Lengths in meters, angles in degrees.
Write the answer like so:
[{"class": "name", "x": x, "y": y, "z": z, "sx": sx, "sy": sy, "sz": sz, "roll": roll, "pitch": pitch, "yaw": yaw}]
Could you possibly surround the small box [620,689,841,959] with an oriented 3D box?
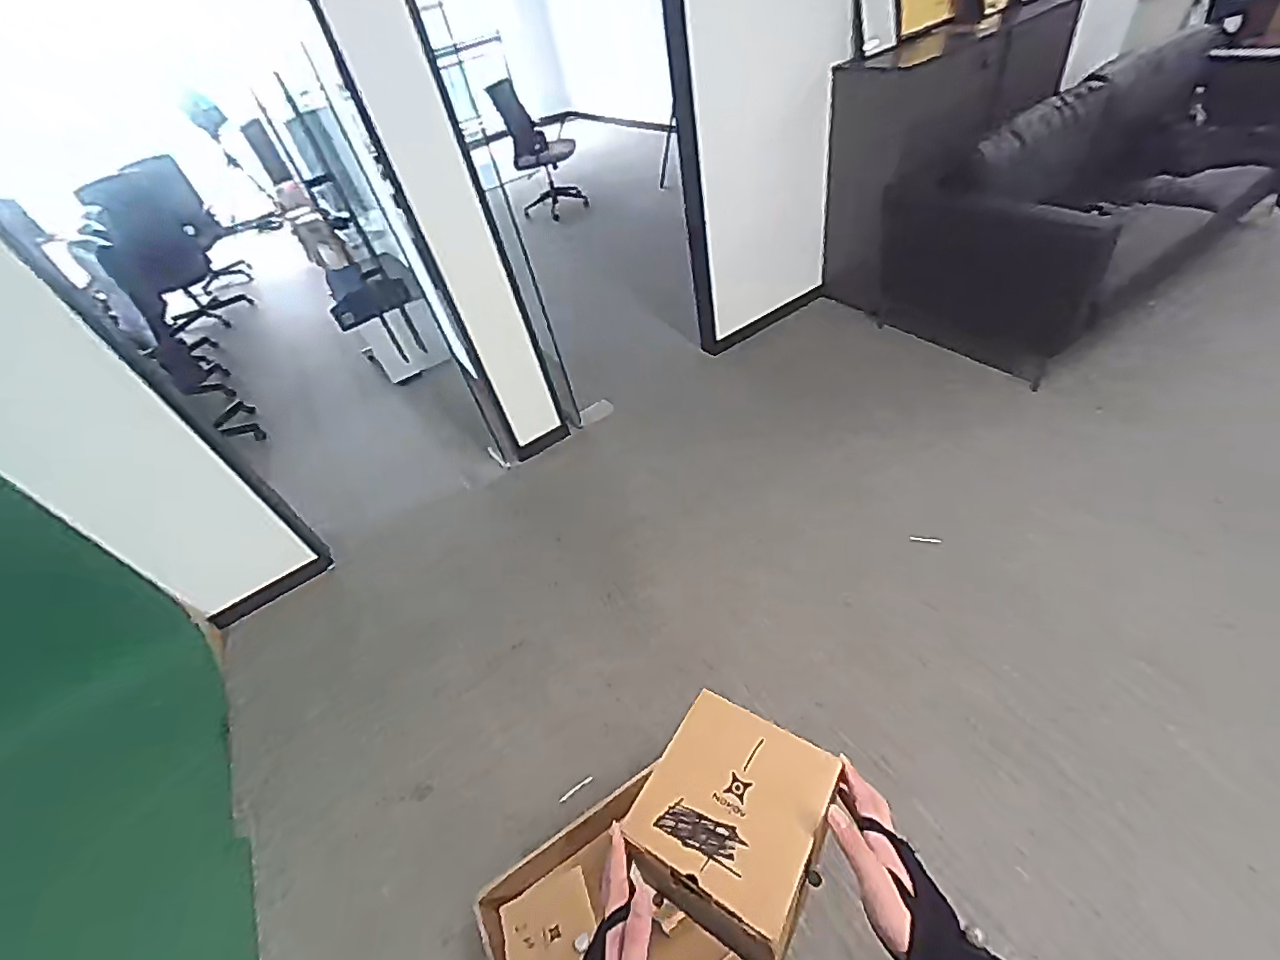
[{"class": "small box", "x": 0.105, "y": 0.376, "z": 0.589, "sx": 0.168, "sy": 0.176, "sz": 0.179, "roll": 18, "pitch": 46, "yaw": 31}]
